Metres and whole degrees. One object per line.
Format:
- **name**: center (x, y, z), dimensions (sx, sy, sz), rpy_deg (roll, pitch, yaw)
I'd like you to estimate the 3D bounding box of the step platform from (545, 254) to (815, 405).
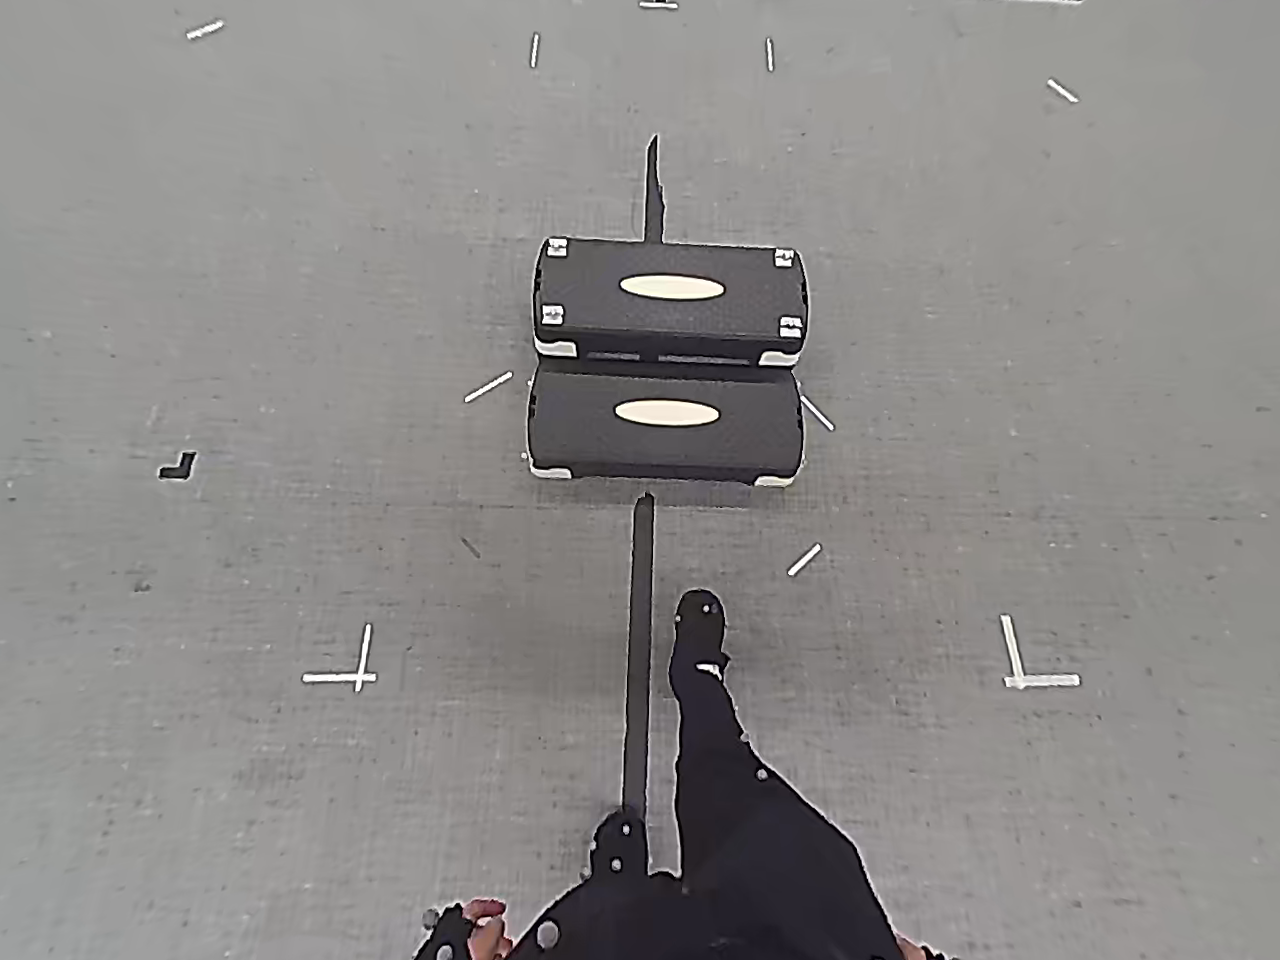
- **step platform**: center (0.099, -0.389, 1.405), dimensions (0.684, 0.204, 0.286), rpy_deg (6, 69, -1)
